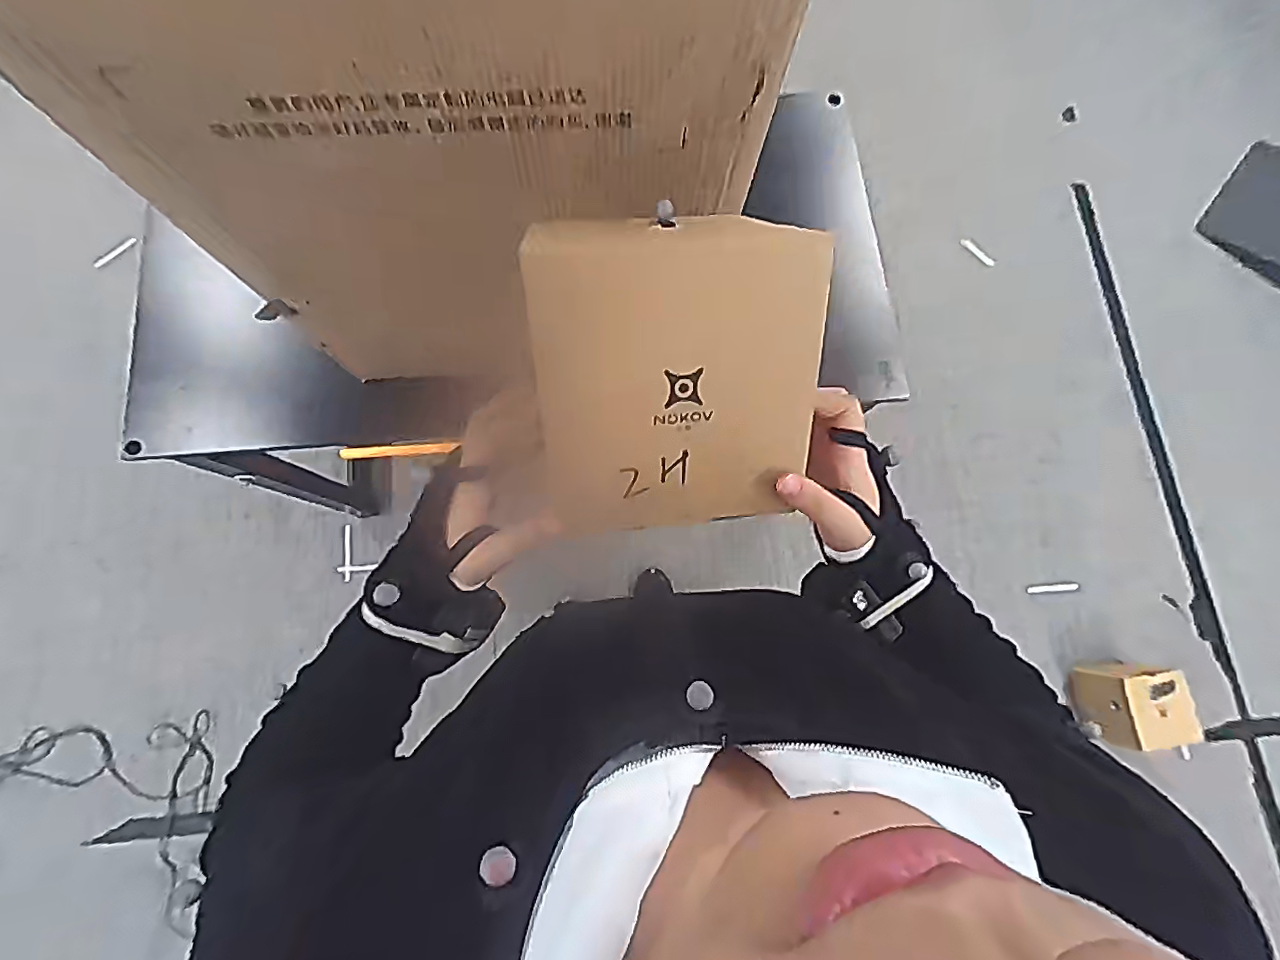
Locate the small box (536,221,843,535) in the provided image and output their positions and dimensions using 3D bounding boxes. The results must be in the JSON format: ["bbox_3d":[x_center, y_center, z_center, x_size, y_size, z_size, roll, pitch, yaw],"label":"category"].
[{"bbox_3d":[0.018,-0.084,0.382,0.168,0.176,0.179,-5,117,-5],"label":"small box"}]

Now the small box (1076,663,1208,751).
[{"bbox_3d":[1.295,0.583,1.412,0.168,0.176,0.179,-7,79,-4],"label":"small box"}]
